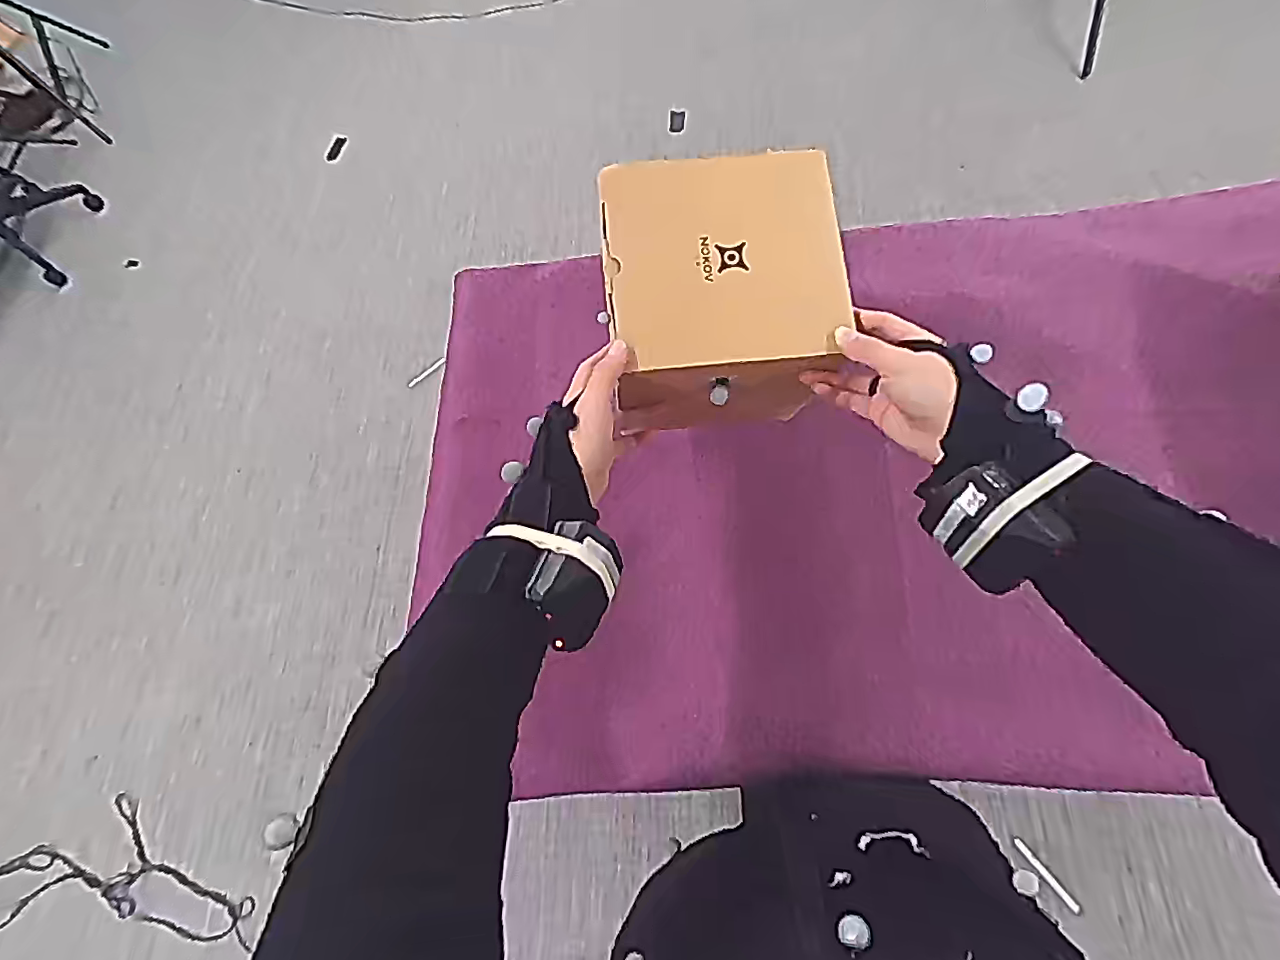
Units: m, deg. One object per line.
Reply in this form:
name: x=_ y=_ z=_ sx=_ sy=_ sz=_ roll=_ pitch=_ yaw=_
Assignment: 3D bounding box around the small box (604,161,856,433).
small box: x=0.062 y=-0.145 z=0.479 sx=0.179 sy=0.176 sz=0.168 roll=-5 pitch=80 yaw=-1
